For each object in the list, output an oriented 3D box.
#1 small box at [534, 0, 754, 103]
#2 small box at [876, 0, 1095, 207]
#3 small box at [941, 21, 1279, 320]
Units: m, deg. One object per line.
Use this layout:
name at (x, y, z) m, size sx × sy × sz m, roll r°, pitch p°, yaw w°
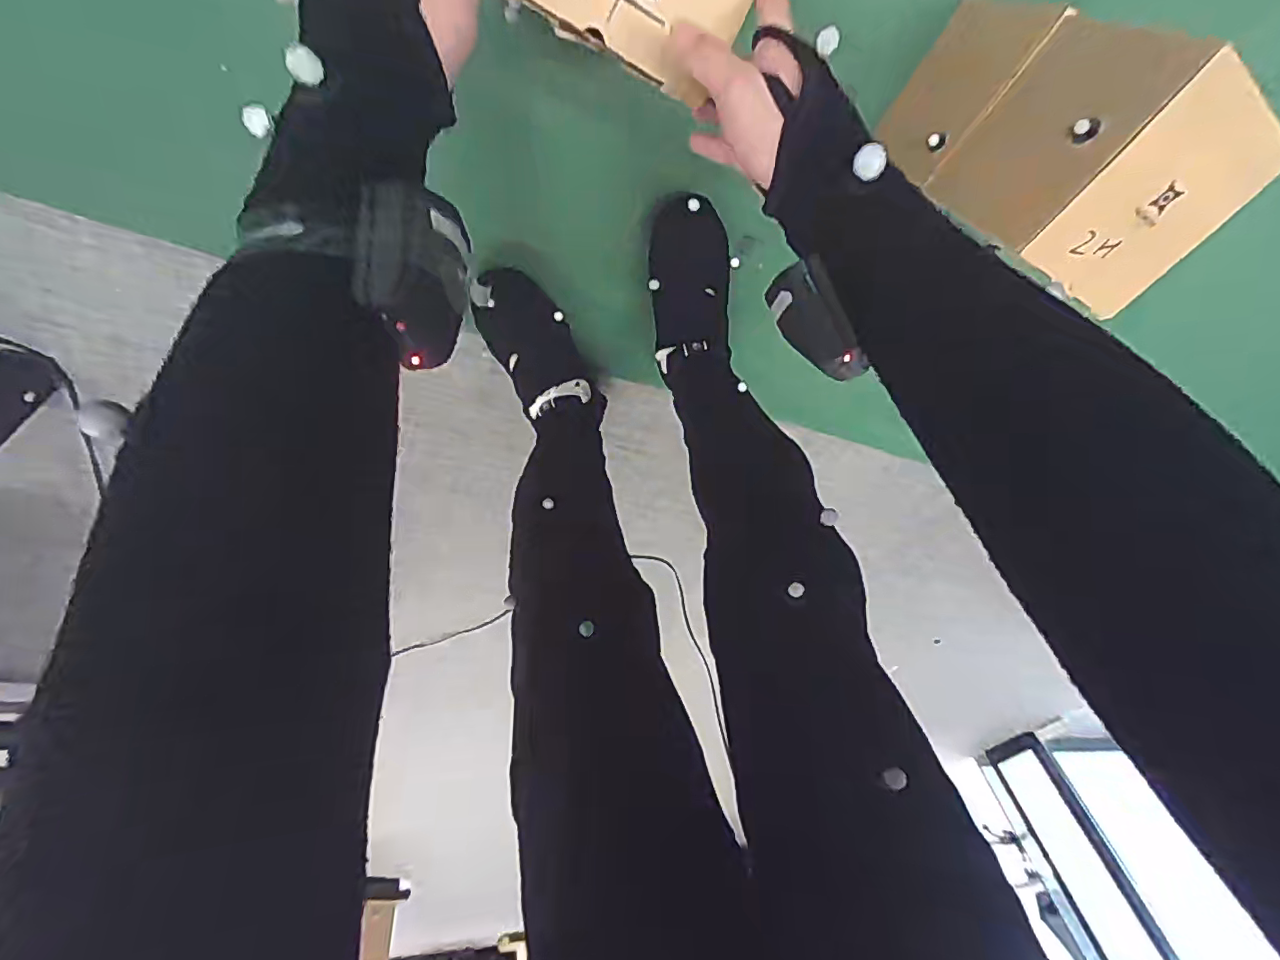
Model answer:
small box at (0.002, -0.388, 0.342) m, size 0.168 × 0.176 × 0.179 m, roll 16°, pitch 128°, yaw -24°
small box at (0.419, -0.419, 0.635) m, size 0.168 × 0.176 × 0.179 m, roll 15°, pitch 131°, yaw -25°
small box at (0.444, -0.297, 0.526) m, size 0.168 × 0.176 × 0.179 m, roll 17°, pitch 130°, yaw -26°
